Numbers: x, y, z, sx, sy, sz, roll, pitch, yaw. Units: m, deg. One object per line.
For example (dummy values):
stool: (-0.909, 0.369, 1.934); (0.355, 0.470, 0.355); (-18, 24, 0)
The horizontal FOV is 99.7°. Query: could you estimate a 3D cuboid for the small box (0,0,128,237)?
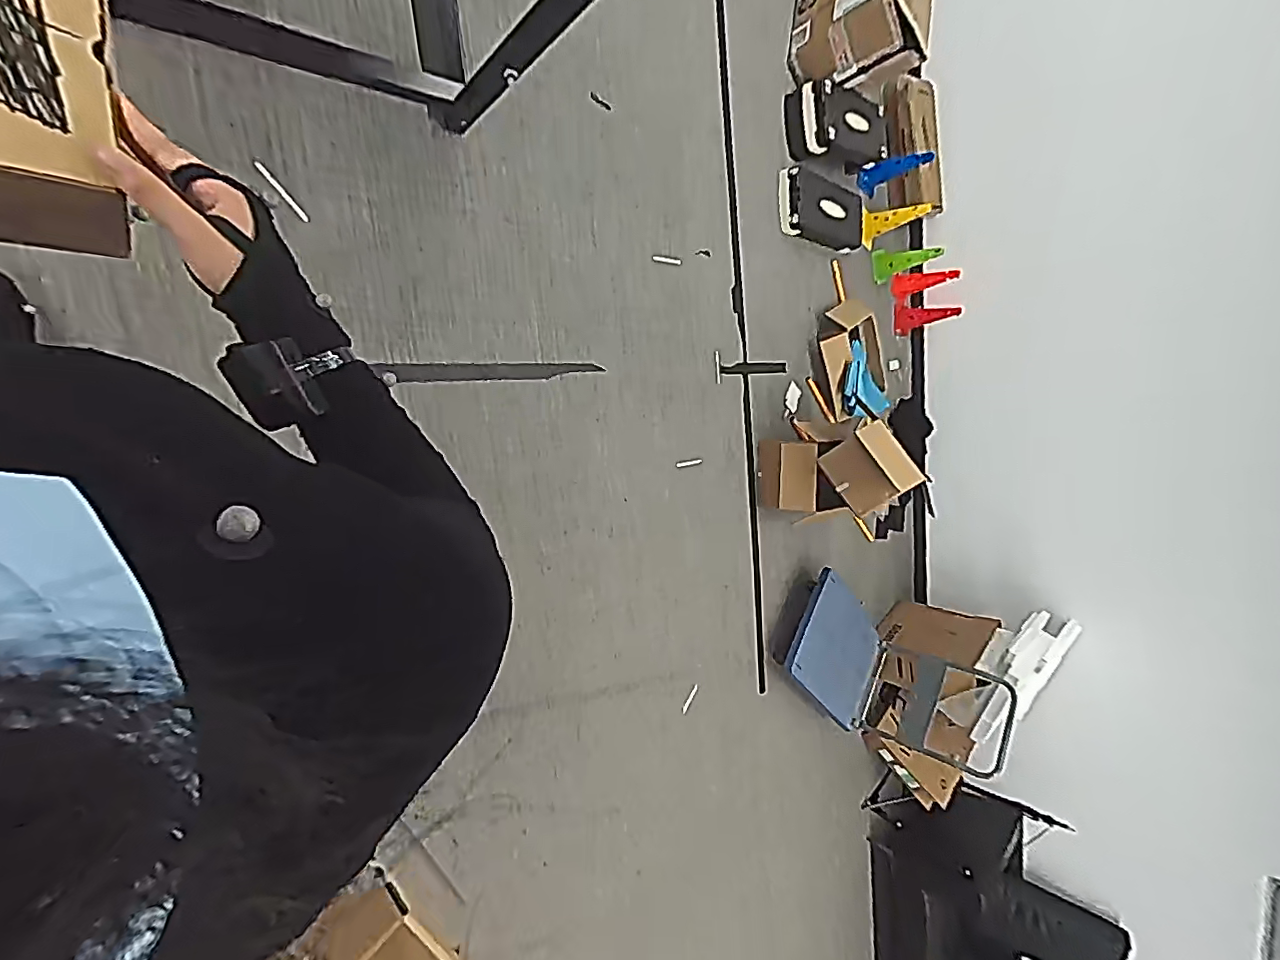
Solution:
small box: (-0.447, -0.270, 0.338); (0.179, 0.176, 0.168); (-5, 96, -41)
